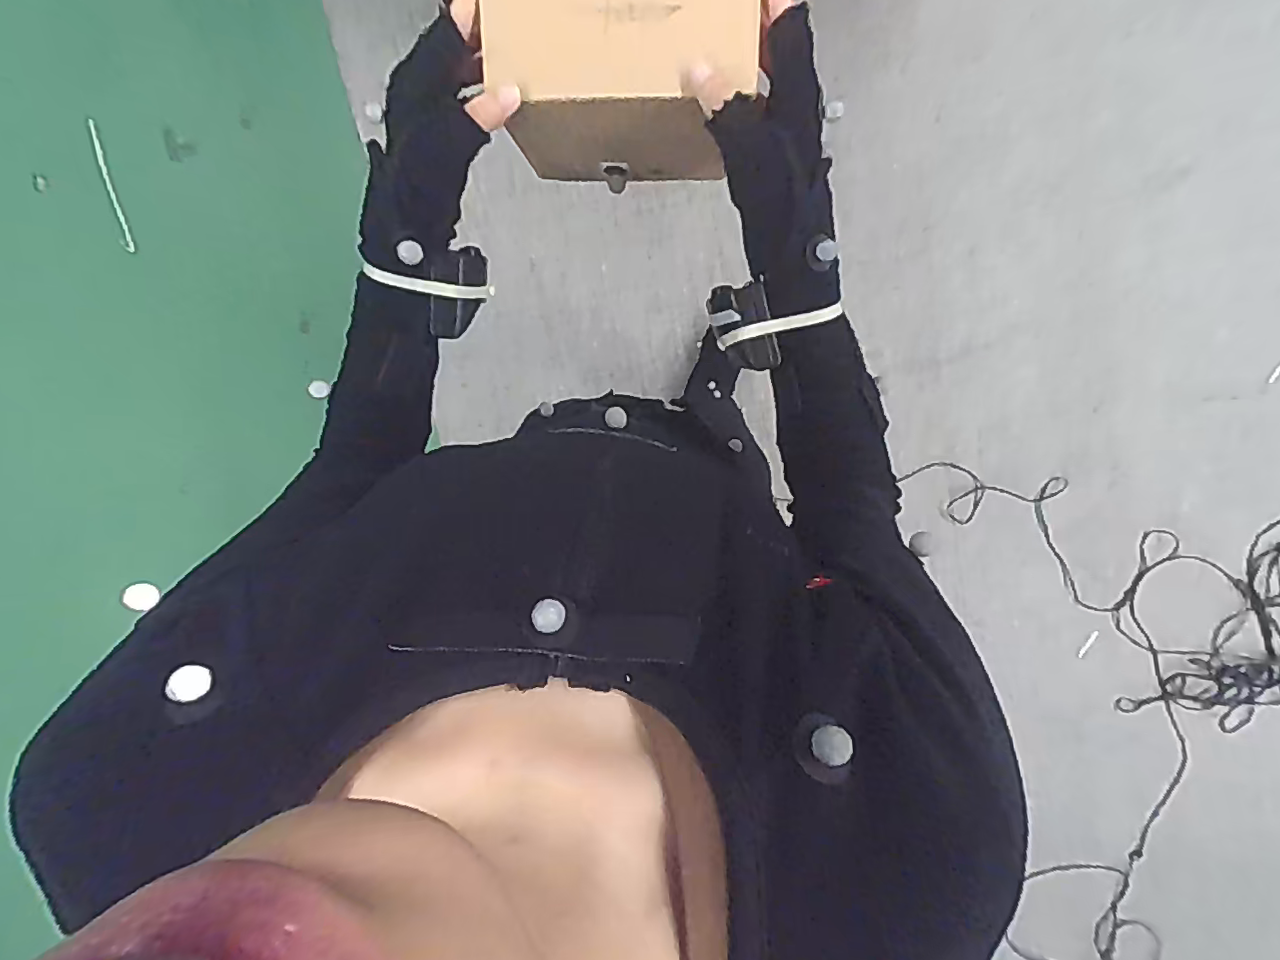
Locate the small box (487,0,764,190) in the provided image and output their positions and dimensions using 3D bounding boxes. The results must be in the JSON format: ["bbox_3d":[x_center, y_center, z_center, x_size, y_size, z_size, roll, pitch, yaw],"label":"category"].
[{"bbox_3d":[-0.007,-0.329,0.388,0.168,0.176,0.179,0,103,2],"label":"small box"}]
